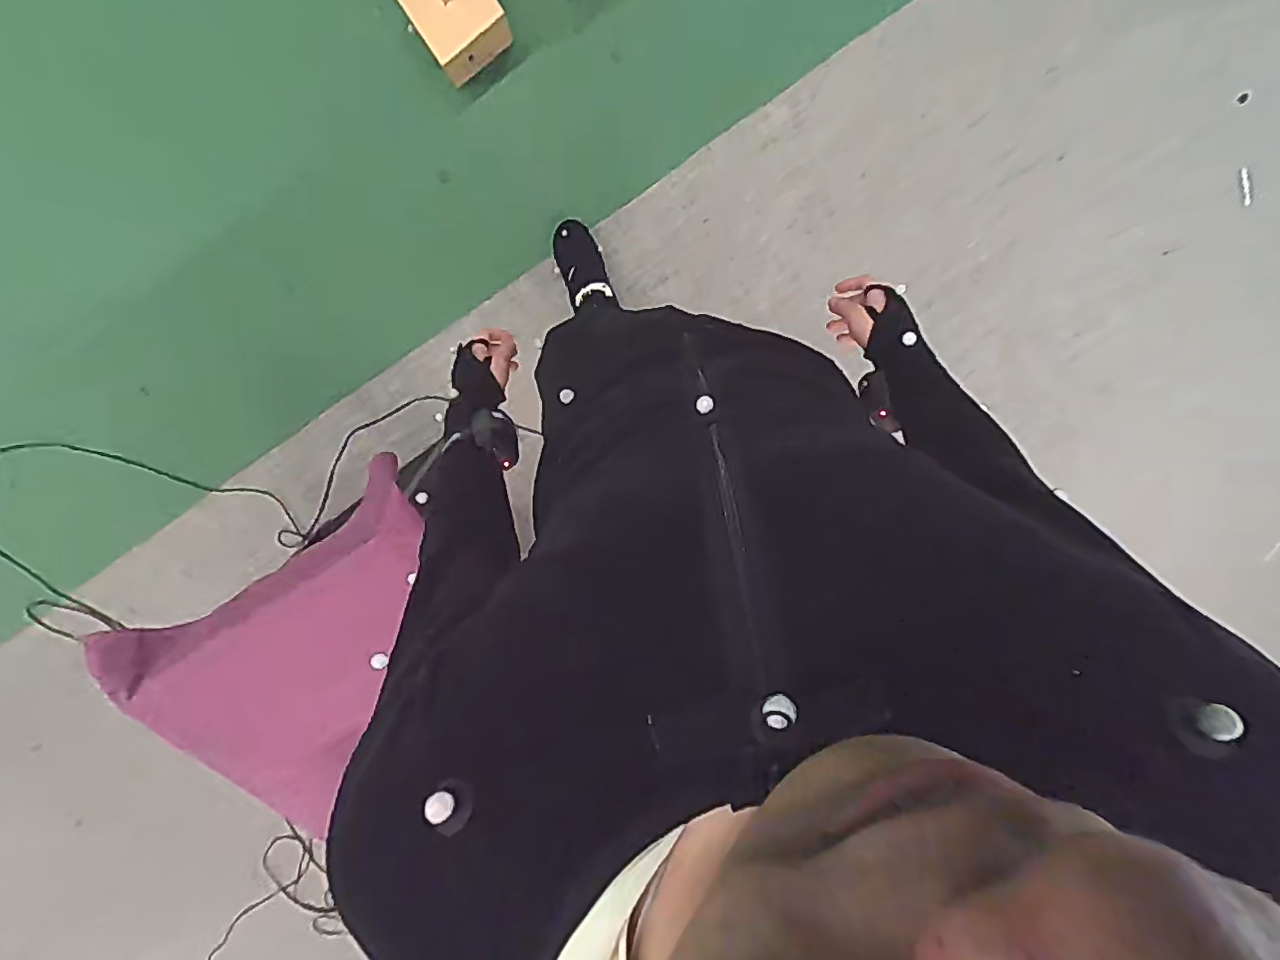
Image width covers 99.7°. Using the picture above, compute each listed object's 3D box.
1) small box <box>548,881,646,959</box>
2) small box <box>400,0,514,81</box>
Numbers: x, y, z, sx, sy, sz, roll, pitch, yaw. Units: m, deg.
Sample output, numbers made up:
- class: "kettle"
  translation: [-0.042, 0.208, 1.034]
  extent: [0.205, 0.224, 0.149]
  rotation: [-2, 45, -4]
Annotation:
- class: "small box"
  translation: [-0.101, 1.058, 1.229]
  extent: [0.168, 0.176, 0.179]
  rotation: [-32, 113, 8]
- class: "small box"
  translation: [-0.387, -0.986, 1.138]
  extent: [0.168, 0.176, 0.179]
  rotation: [-34, 111, 9]
